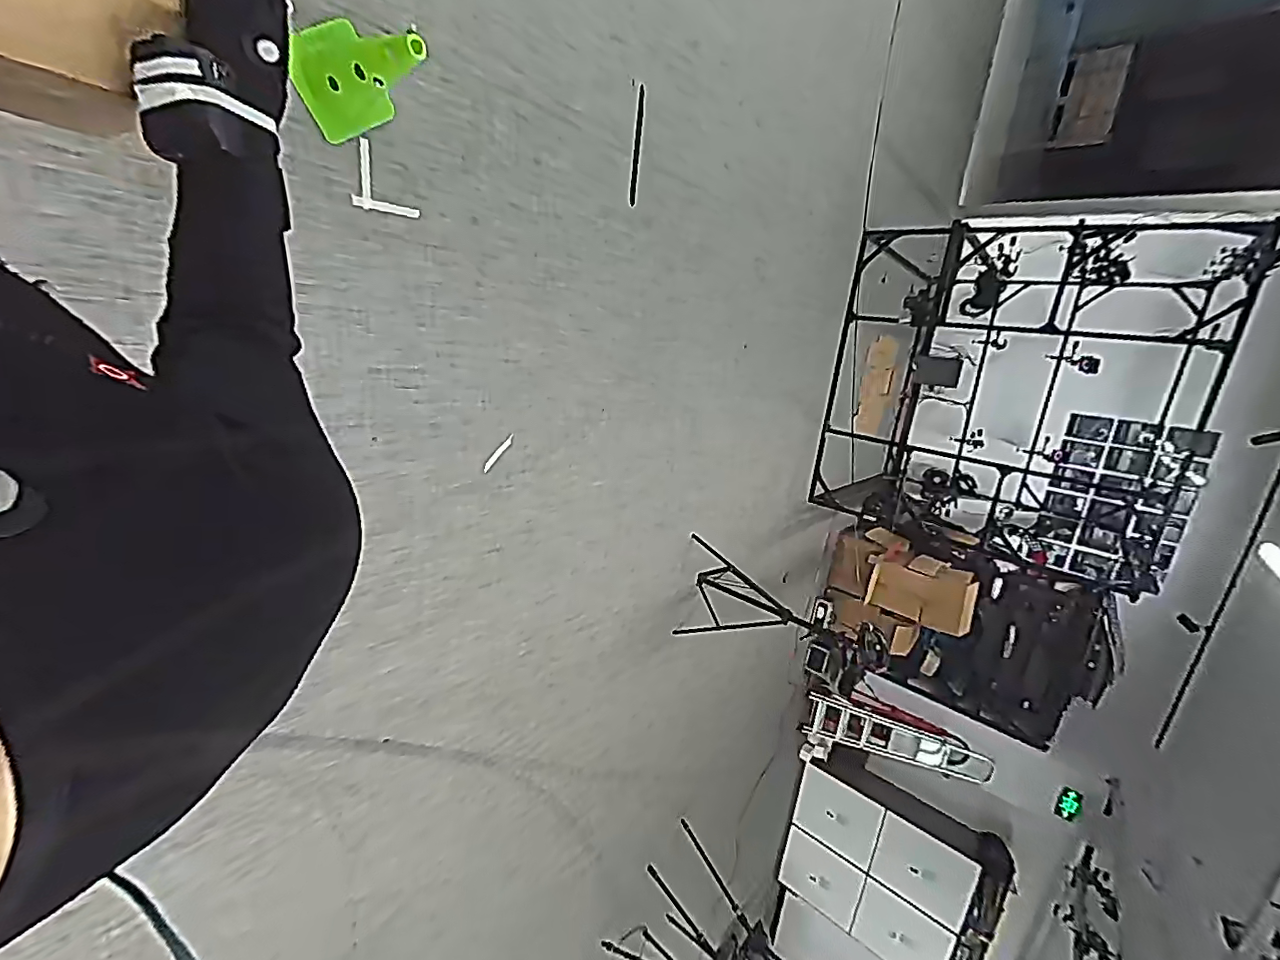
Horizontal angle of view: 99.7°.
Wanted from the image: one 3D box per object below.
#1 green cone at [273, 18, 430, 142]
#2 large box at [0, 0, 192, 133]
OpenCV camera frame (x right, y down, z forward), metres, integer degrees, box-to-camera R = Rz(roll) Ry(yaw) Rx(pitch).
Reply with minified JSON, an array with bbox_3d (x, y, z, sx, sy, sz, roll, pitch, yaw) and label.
[{"bbox_3d":[-0.564,-0.872,1.141,0.202,0.368,0.200,-51,140,-28],"label":"green cone"},{"bbox_3d":[-0.547,-0.435,0.288,0.408,0.320,0.320,-11,117,-52],"label":"large box"}]
